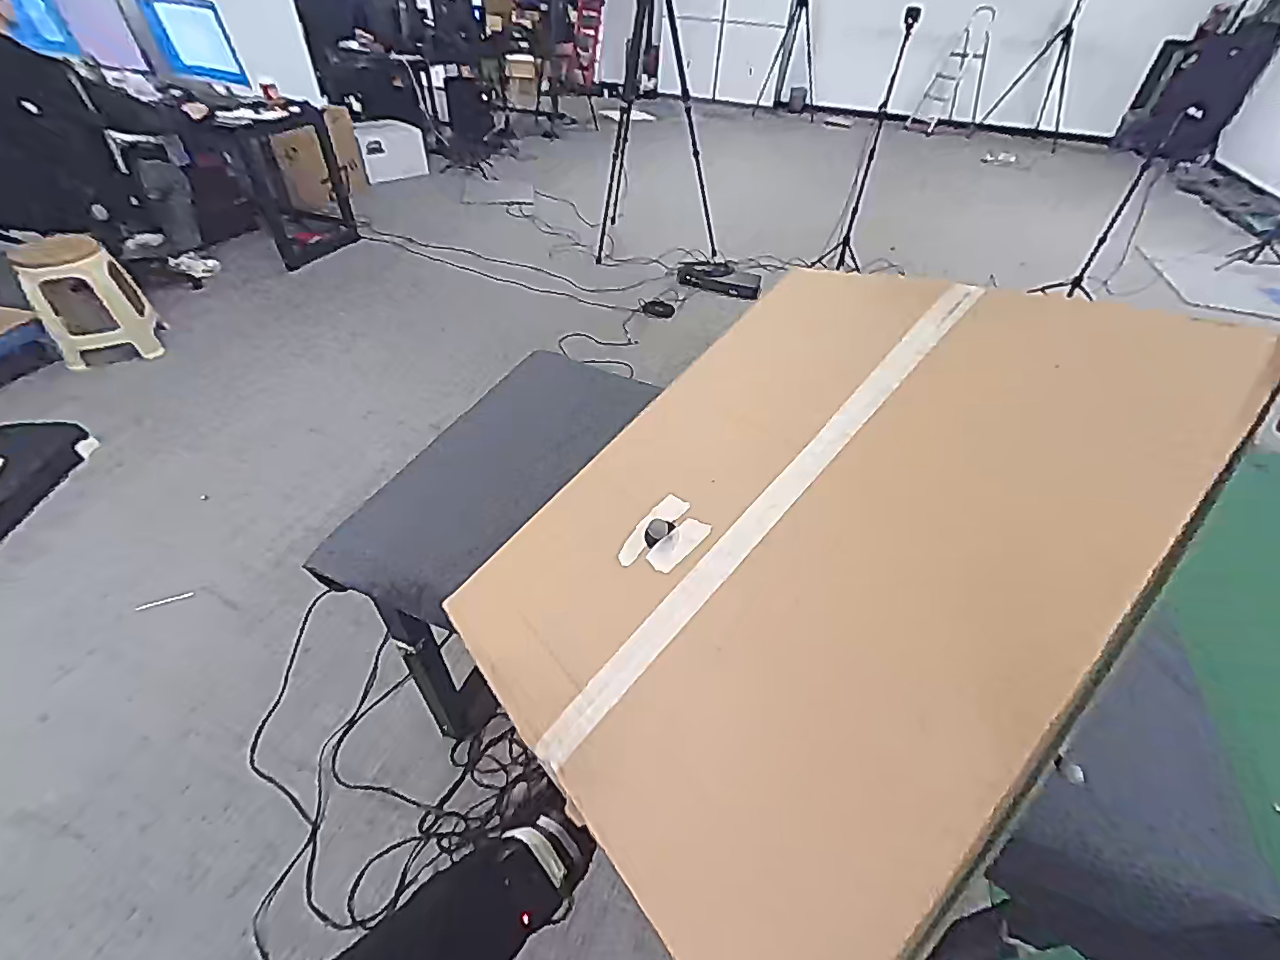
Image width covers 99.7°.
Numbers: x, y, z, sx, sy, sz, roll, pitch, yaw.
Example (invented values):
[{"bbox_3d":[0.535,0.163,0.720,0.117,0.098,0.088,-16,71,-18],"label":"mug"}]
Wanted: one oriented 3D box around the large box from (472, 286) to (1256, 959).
[{"bbox_3d":[0.159,0.110,0.445,0.408,0.320,0.320,-47,45,-12],"label":"large box"}]
